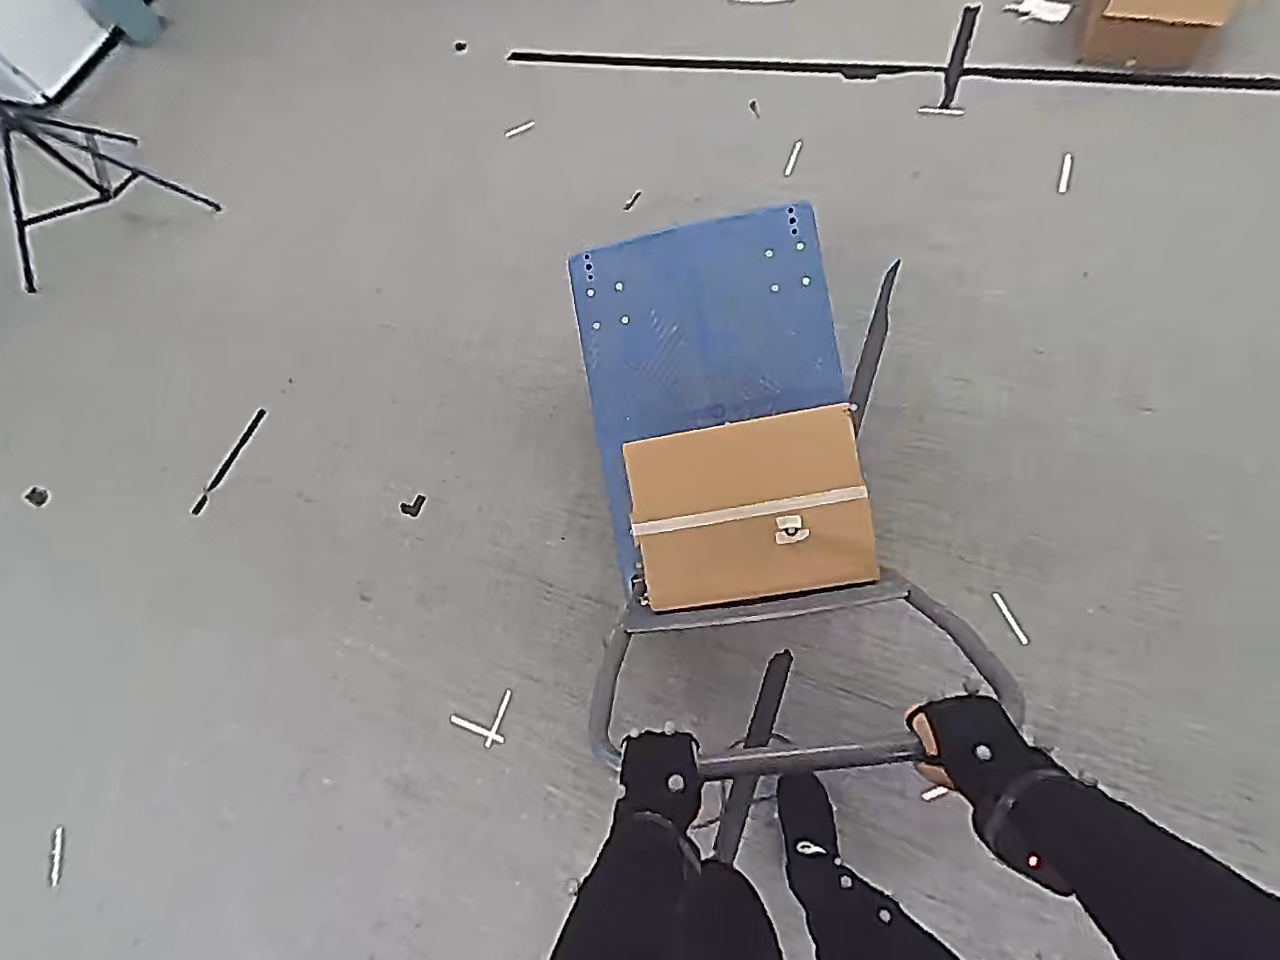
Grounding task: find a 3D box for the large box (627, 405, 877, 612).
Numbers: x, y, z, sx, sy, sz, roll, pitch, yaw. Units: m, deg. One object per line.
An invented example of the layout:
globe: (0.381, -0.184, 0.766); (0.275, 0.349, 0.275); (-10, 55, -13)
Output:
large box: (0.212, 0.056, 1.120); (0.408, 0.320, 0.320); (-11, 90, 6)
